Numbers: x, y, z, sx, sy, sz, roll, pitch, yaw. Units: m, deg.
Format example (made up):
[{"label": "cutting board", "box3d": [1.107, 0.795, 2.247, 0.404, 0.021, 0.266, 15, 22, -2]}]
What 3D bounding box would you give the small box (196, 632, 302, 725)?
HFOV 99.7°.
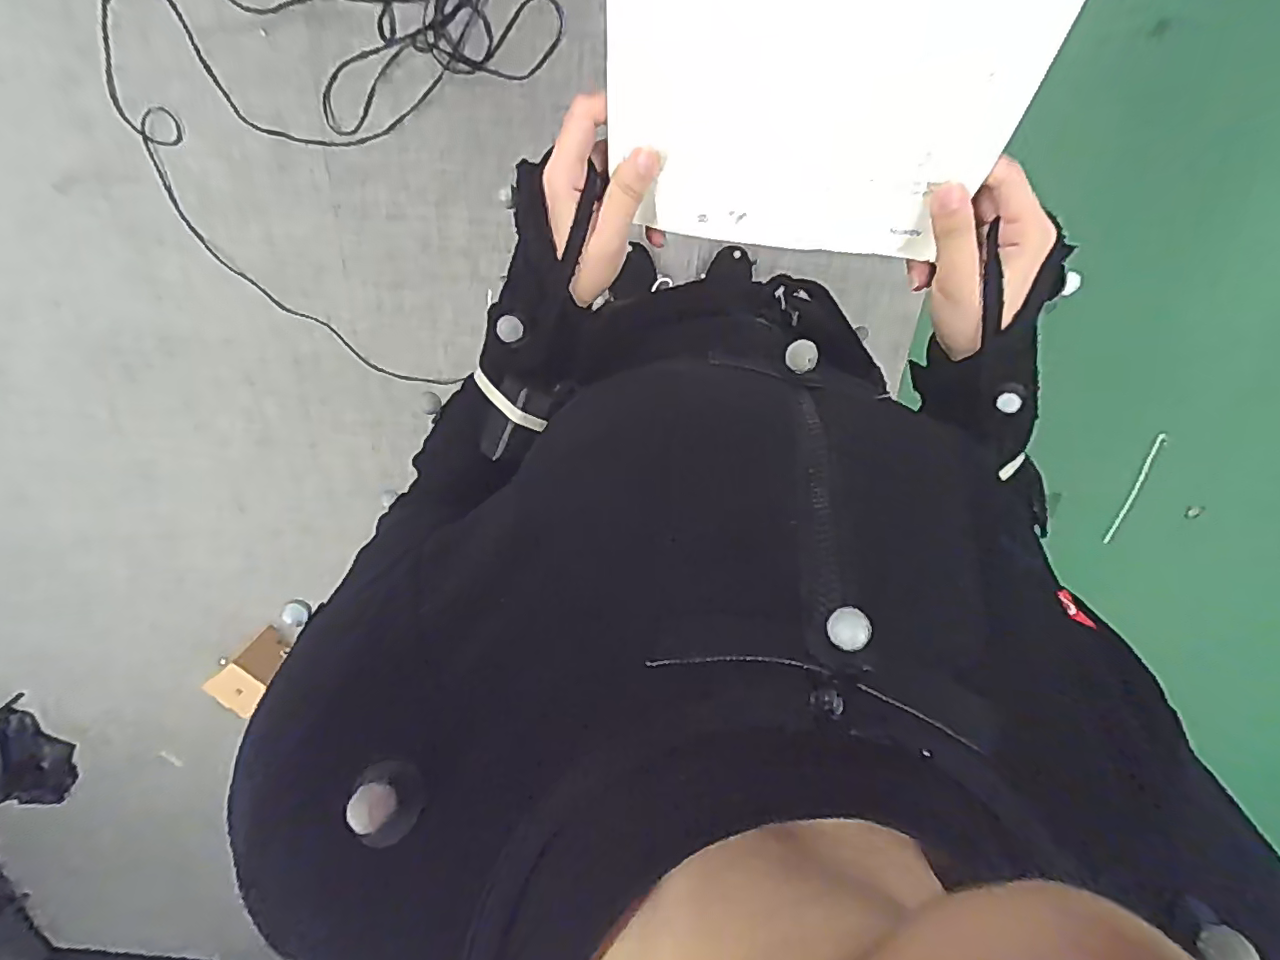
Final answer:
[{"label": "small box", "box3d": [-1.205, 0.614, 1.682, 0.179, 0.176, 0.168, -36, 109, 17]}]
